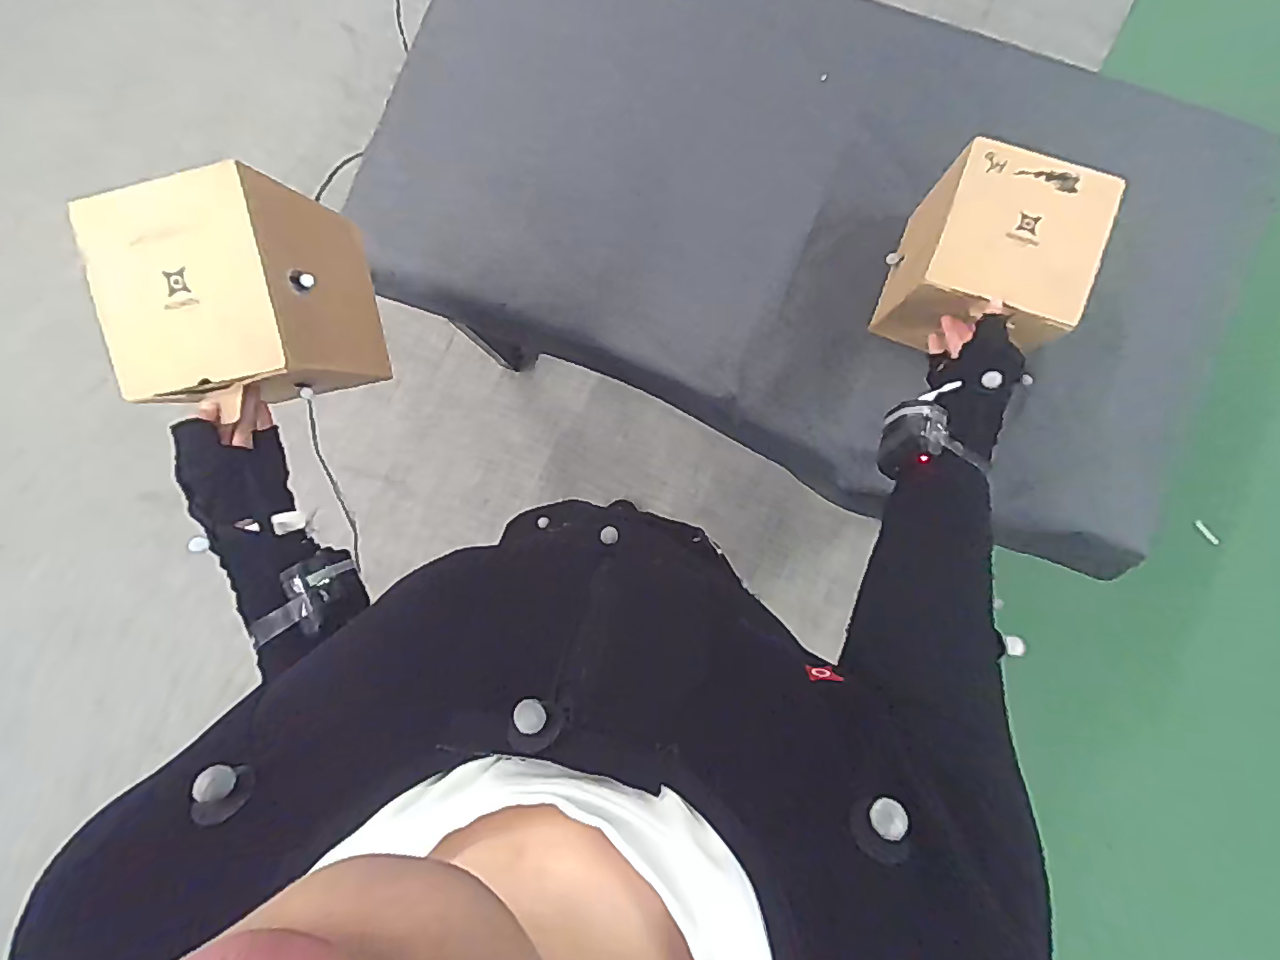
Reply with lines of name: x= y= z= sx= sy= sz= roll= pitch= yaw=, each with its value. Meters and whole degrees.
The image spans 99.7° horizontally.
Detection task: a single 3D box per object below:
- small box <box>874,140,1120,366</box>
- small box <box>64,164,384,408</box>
small box: x=0.413 y=-0.259 z=0.661 sx=0.168 sy=0.176 sz=0.179 roll=21 pitch=89 yaw=4
small box: x=-0.385 y=-0.172 z=0.537 sx=0.168 sy=0.176 sz=0.179 roll=-10 pitch=97 yaw=7
